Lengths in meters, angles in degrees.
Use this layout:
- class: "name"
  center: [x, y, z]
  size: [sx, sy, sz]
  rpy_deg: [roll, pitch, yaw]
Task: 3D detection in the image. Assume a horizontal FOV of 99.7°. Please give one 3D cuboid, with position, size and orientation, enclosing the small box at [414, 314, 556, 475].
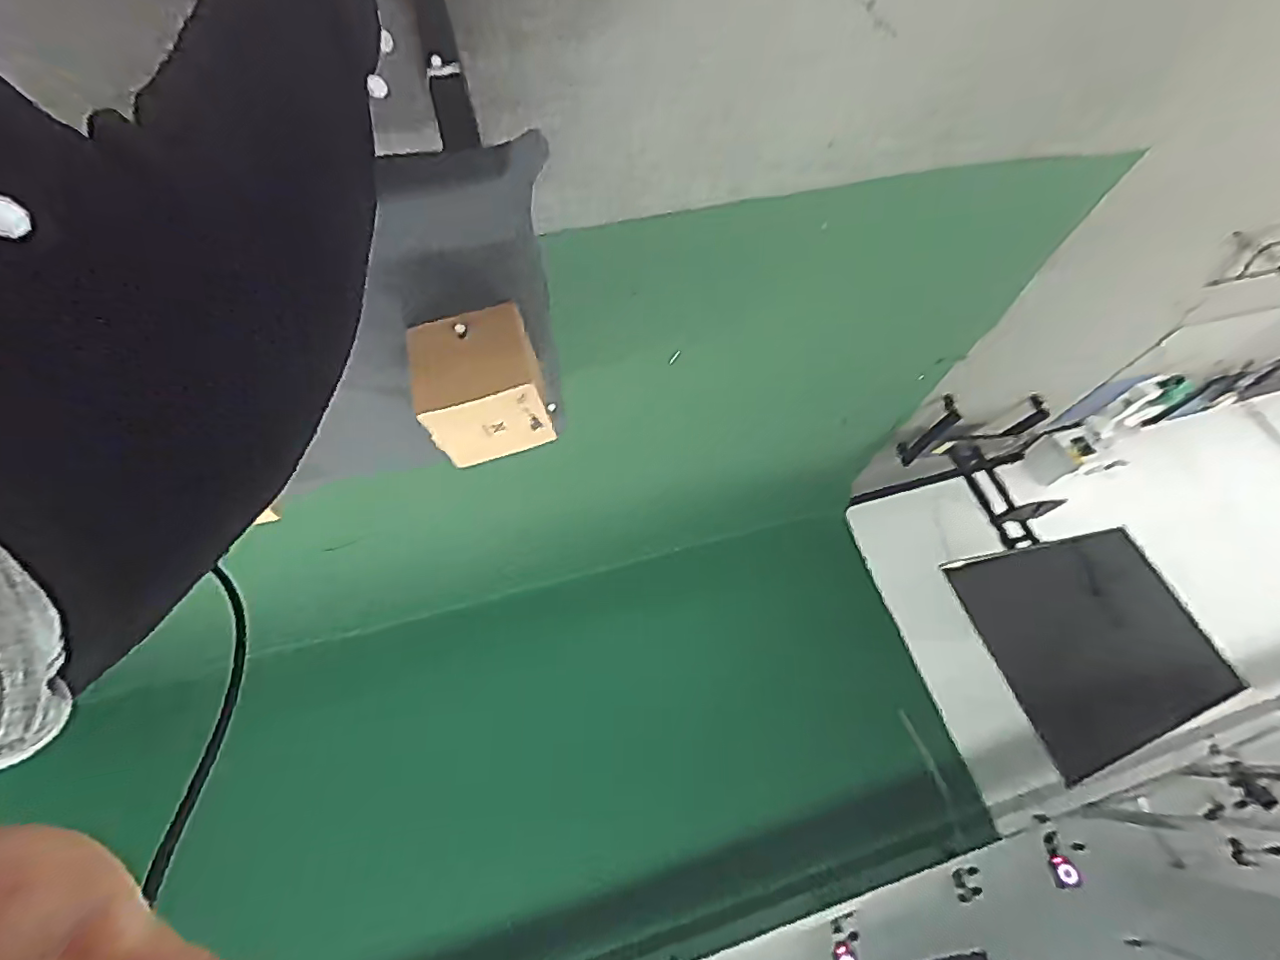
- class: "small box"
  center: [-0.249, -0.136, 0.871]
  size: [0.179, 0.176, 0.168]
  rpy_deg: [-16, 154, -3]
